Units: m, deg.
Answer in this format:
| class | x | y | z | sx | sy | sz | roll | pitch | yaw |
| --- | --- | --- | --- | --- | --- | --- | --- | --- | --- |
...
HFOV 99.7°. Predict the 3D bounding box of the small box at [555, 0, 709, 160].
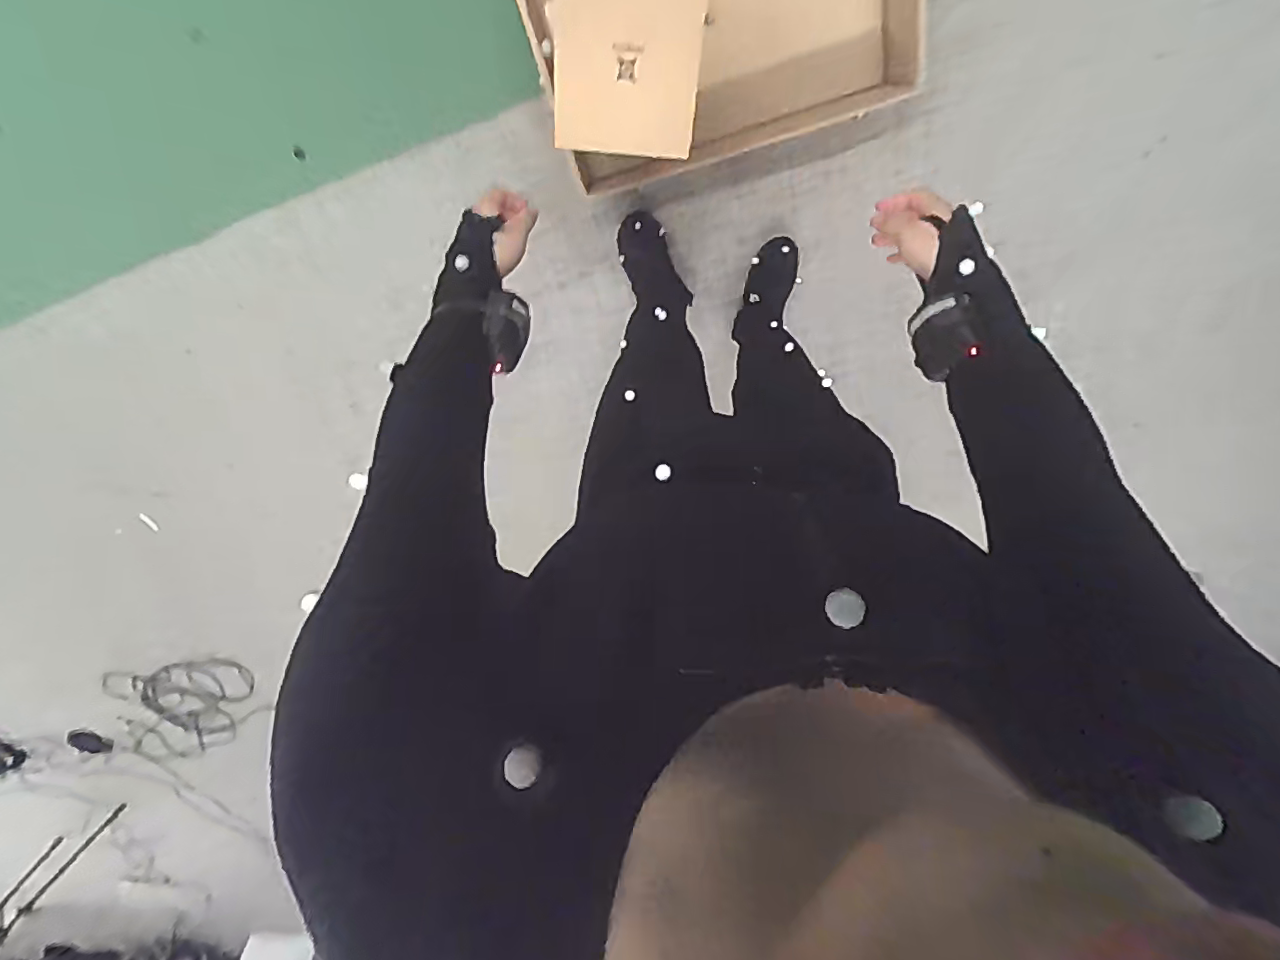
| class | x | y | z | sx | sy | sz | roll | pitch | yaw |
| --- | --- | --- | --- | --- | --- | --- | --- | --- | --- |
| small box | -0.014 | -0.512 | 0.668 | 0.168 | 0.176 | 0.179 | 3 | 126 | -4 |
